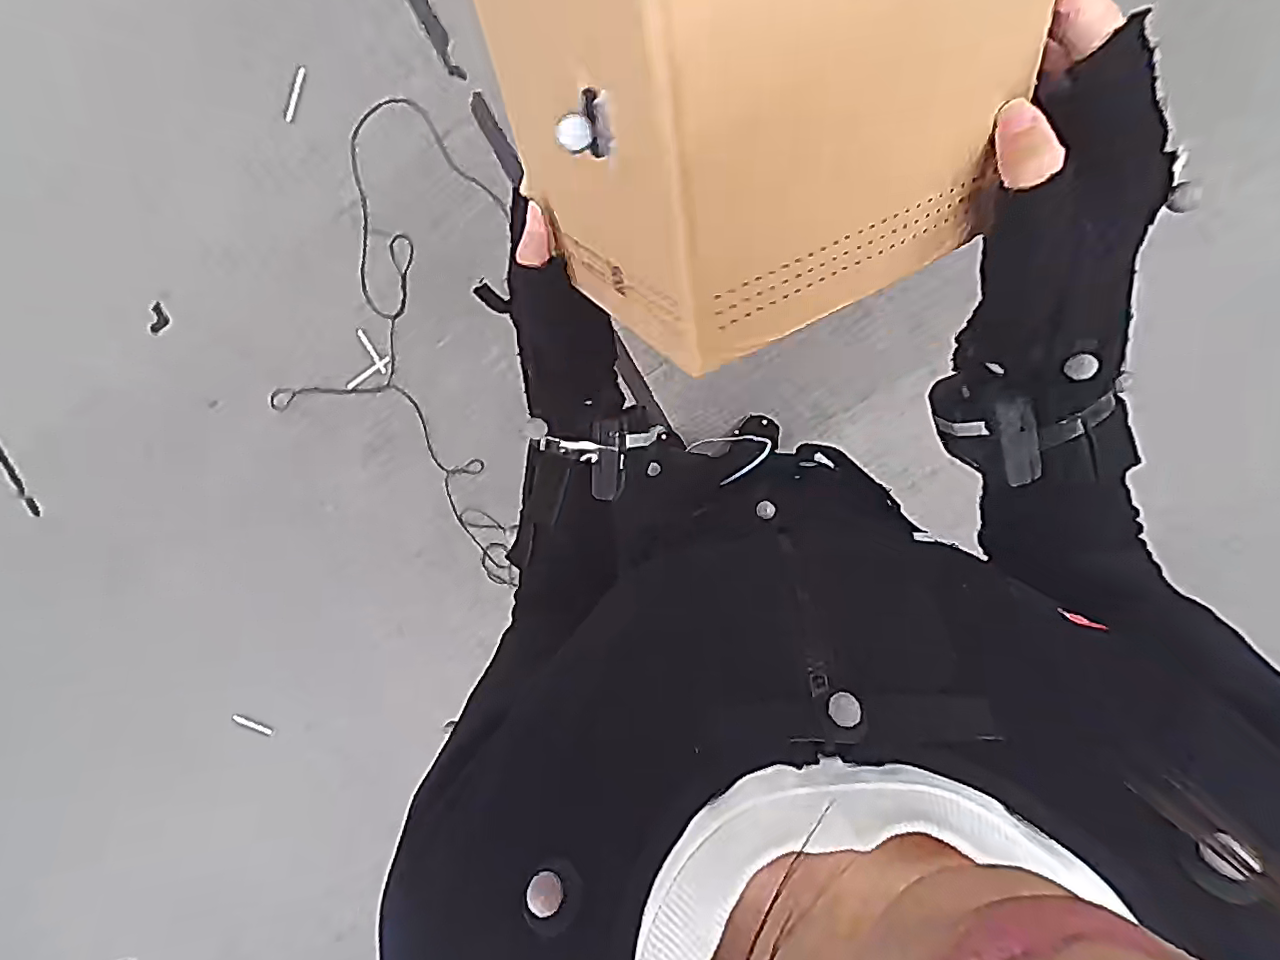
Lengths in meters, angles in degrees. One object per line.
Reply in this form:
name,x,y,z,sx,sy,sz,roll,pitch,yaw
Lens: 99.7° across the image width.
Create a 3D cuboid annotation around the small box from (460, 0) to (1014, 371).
small box,0.043,-0.177,0.247,0.179,0.168,0.176,-30,136,-14
